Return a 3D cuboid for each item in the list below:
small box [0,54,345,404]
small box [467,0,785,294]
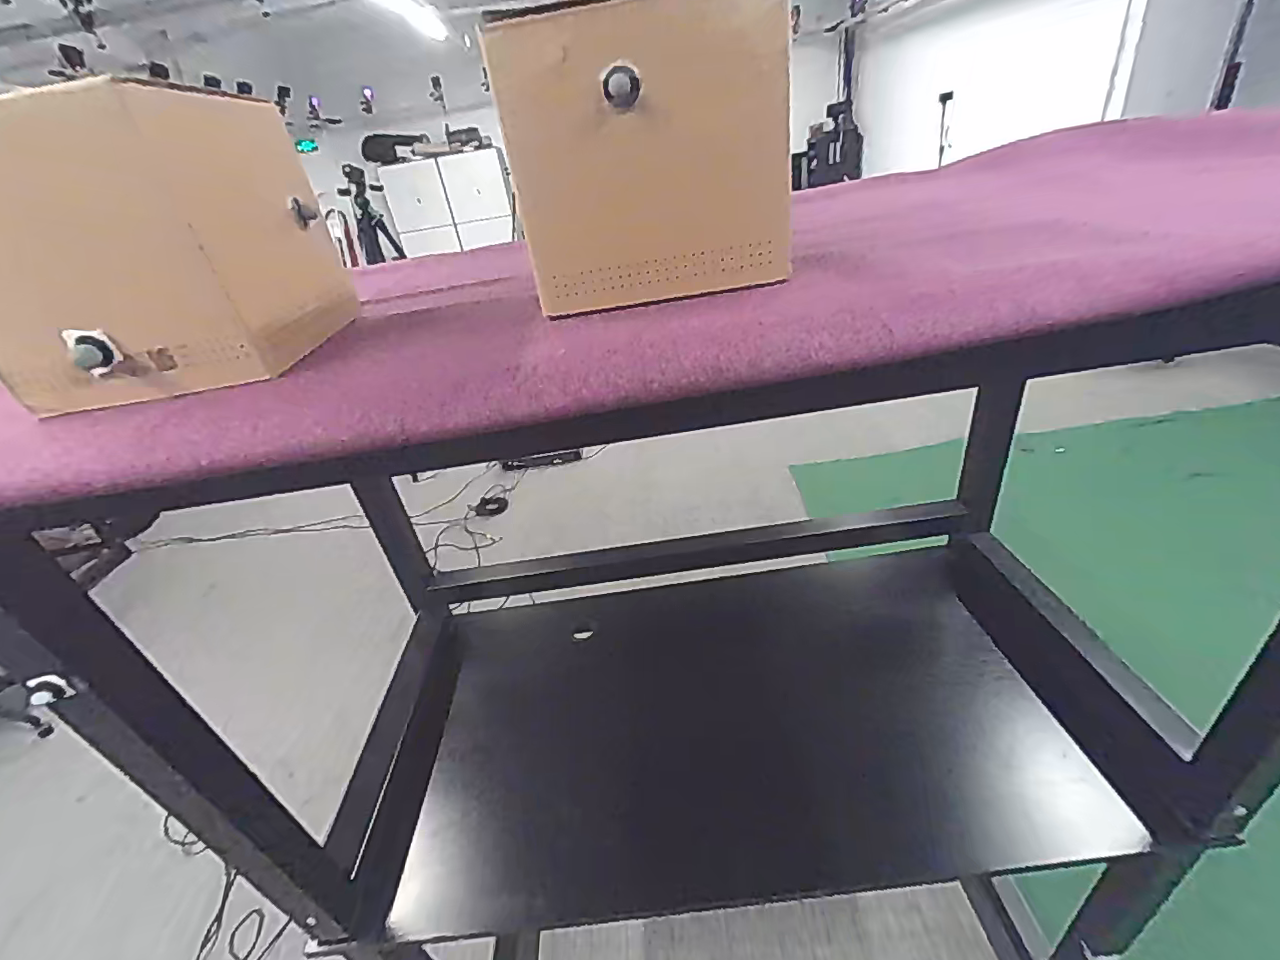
[{"bbox_3d":[-0.342,-0.171,0.381,0.168,0.176,0.179,-11,33,0],"label":"small box"},{"bbox_3d":[0.001,-0.243,0.396,0.179,0.176,0.168,-8,30,3],"label":"small box"}]
